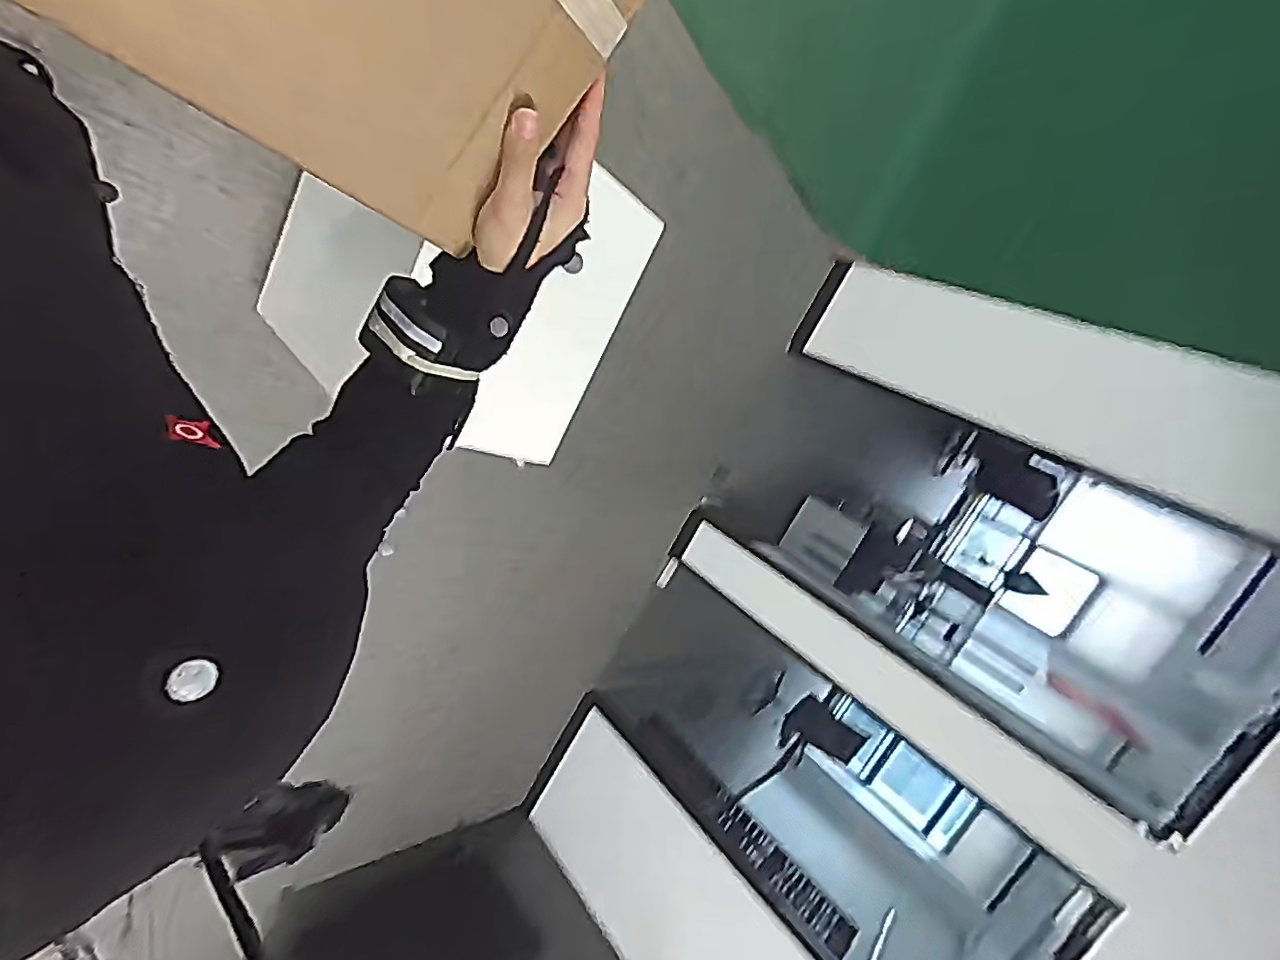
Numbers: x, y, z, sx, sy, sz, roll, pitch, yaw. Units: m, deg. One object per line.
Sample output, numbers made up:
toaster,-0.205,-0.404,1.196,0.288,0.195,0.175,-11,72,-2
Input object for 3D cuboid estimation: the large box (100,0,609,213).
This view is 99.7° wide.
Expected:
large box,-0.204,-0.408,0.212,0.320,0.320,0.408,-43,152,22
